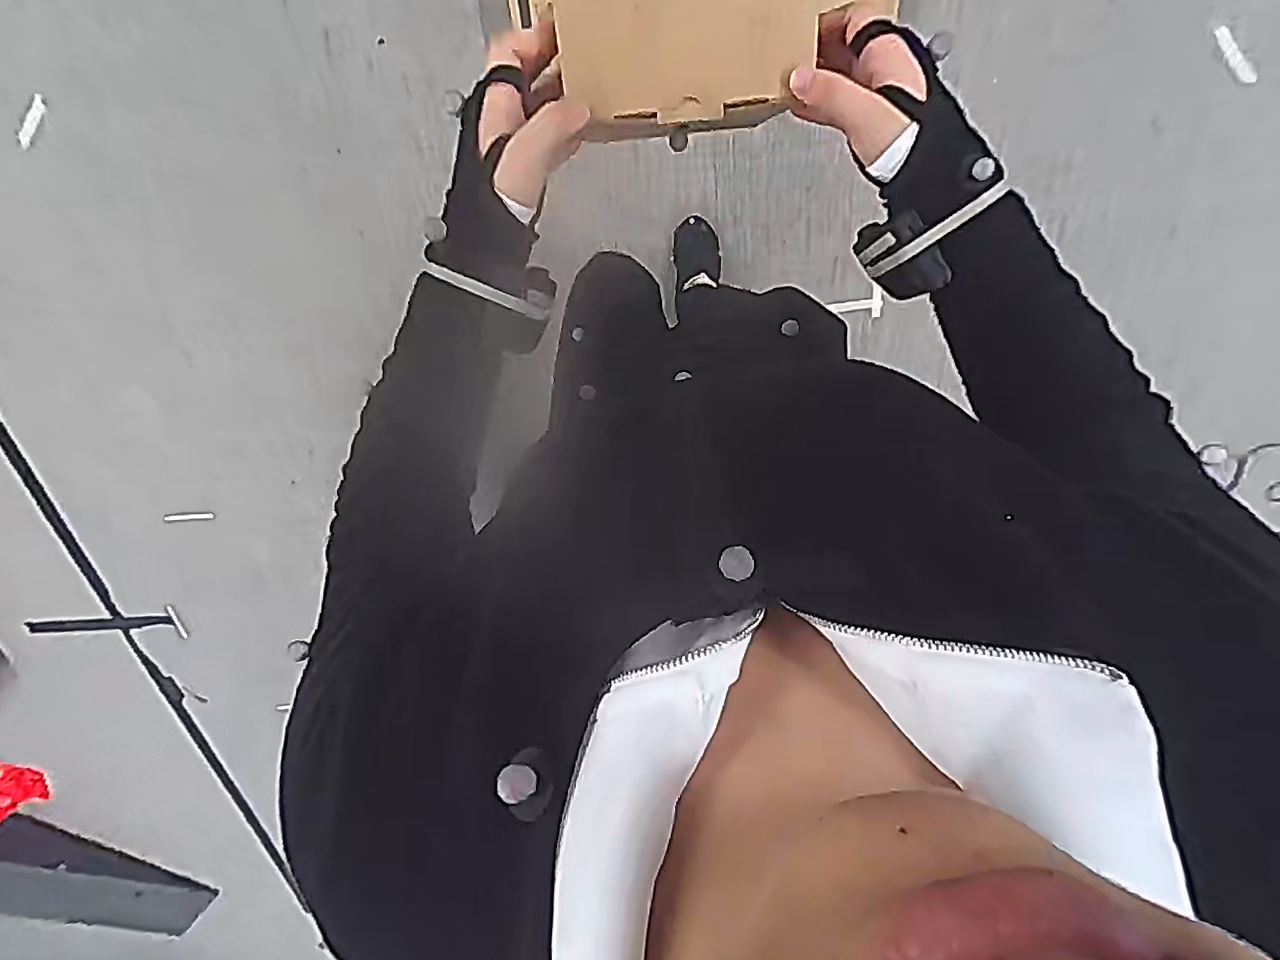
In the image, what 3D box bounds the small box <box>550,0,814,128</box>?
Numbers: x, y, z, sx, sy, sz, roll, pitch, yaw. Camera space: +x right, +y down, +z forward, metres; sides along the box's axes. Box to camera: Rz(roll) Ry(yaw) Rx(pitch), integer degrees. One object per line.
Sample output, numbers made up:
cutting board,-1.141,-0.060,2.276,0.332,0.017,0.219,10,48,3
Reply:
small box,0.022,-0.363,0.387,0.168,0.176,0.179,-6,120,1
